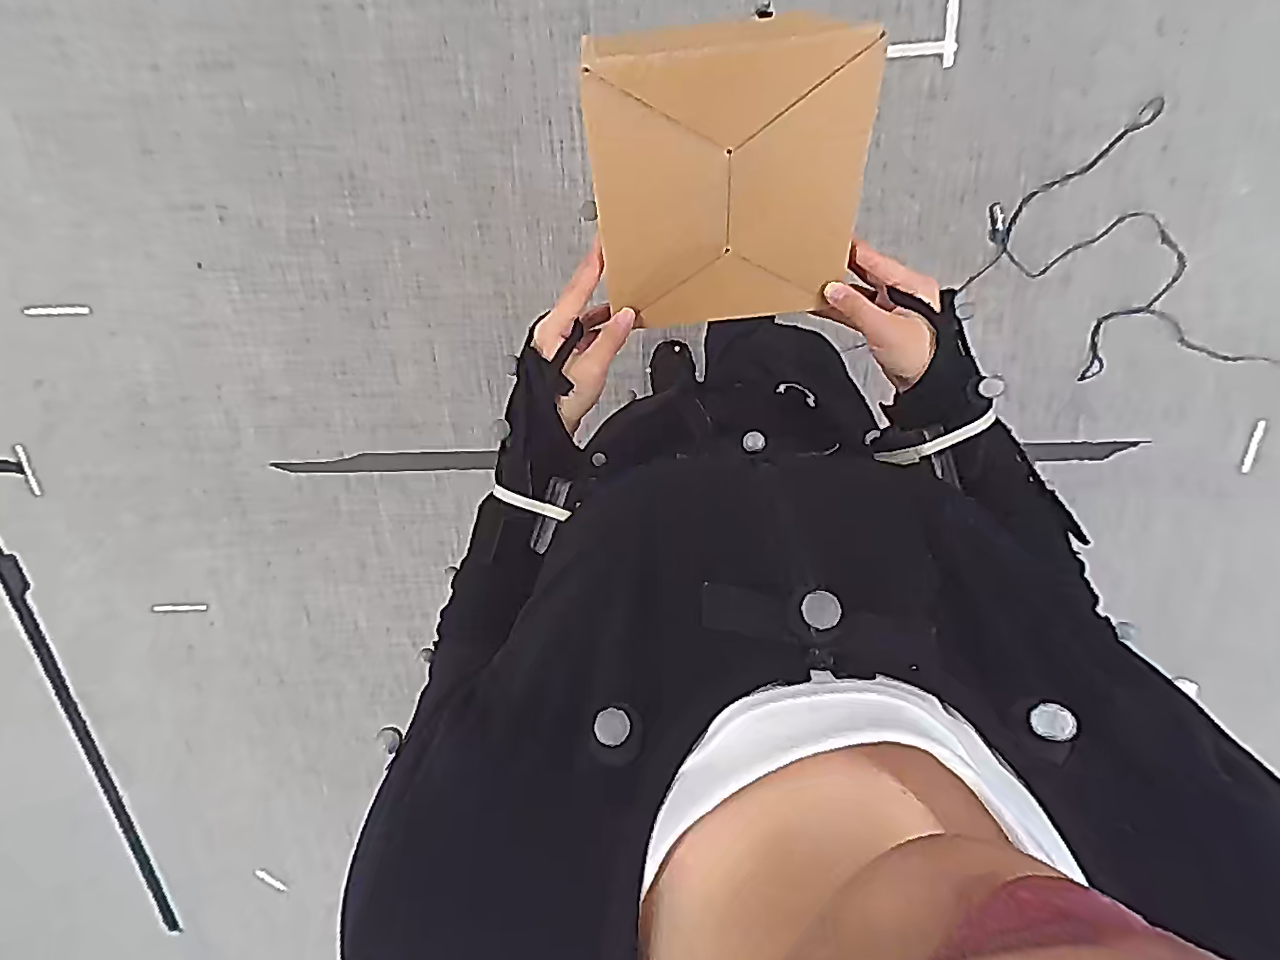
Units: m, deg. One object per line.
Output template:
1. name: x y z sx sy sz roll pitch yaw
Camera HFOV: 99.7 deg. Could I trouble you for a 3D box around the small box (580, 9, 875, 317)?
1. small box: 0.051 -0.243 0.417 0.179 0.176 0.168 -5 134 1
